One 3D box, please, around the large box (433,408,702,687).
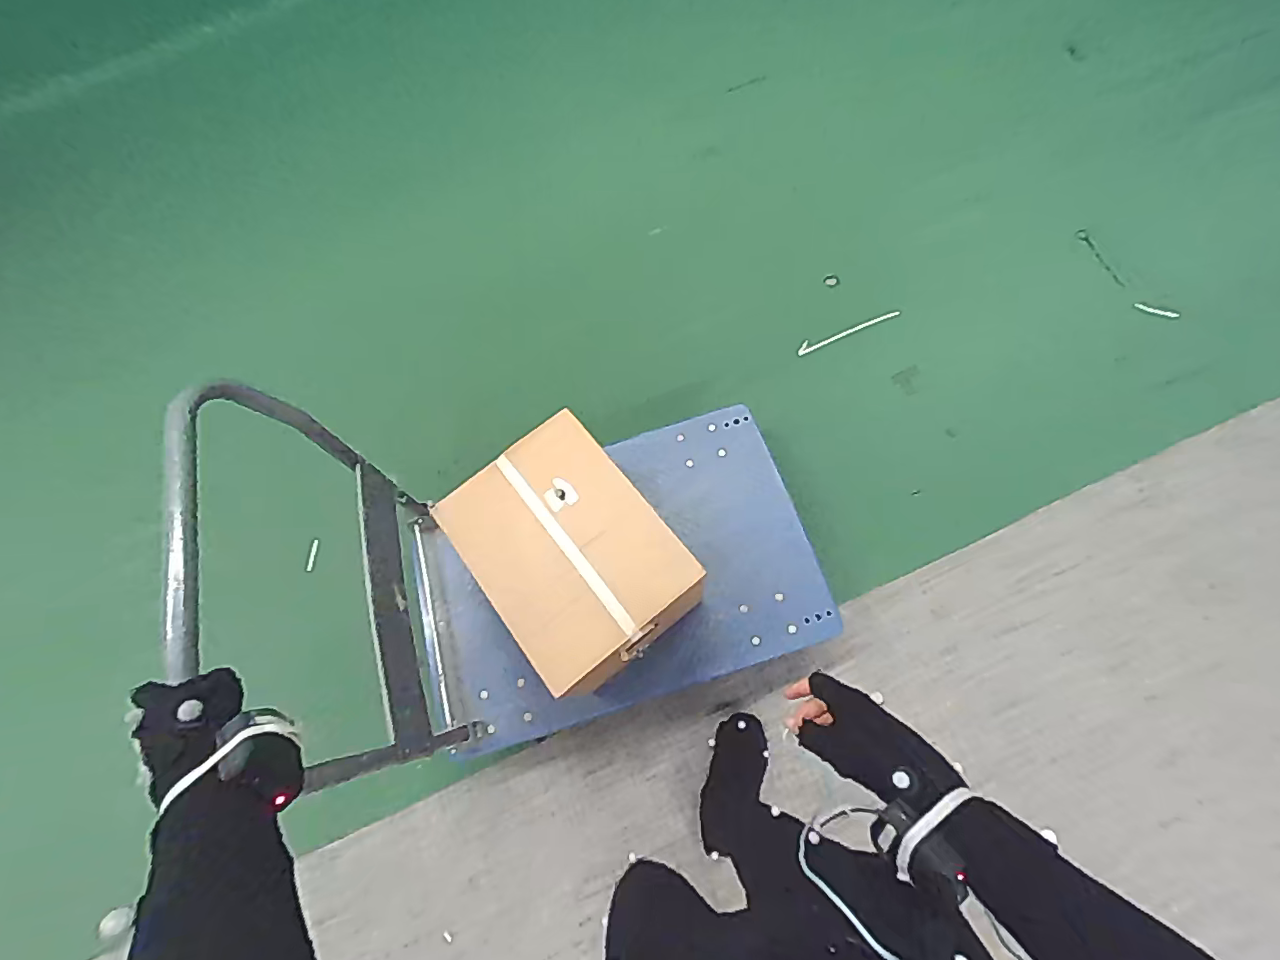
[{"bbox_3d":[-0.119,0.144,1.073,0.320,0.320,0.408,-38,71,-8],"label":"large box"}]
